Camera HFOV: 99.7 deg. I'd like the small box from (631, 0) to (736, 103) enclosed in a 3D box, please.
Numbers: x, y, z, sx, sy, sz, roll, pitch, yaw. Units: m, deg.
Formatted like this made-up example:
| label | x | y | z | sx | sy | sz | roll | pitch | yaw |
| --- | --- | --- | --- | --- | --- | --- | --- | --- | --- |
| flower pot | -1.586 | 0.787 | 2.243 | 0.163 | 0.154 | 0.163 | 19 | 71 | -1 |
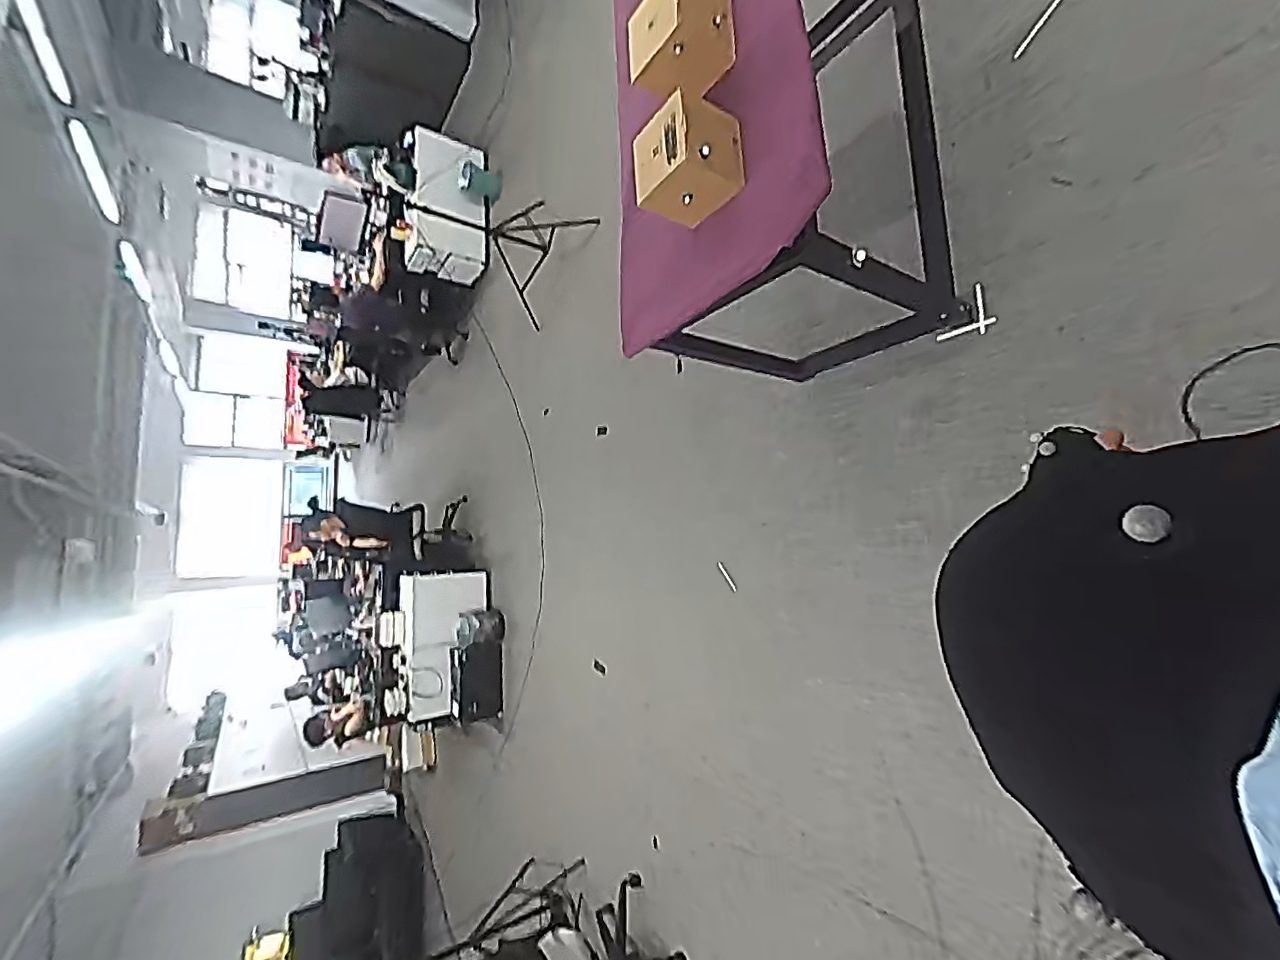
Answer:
| label | x | y | z | sx | sy | sz | roll | pitch | yaw |
| --- | --- | --- | --- | --- | --- | --- | --- | --- | --- |
| small box | 0.097 | -1.012 | 1.229 | 0.179 | 0.176 | 0.168 | -12 | 78 | 54 |
